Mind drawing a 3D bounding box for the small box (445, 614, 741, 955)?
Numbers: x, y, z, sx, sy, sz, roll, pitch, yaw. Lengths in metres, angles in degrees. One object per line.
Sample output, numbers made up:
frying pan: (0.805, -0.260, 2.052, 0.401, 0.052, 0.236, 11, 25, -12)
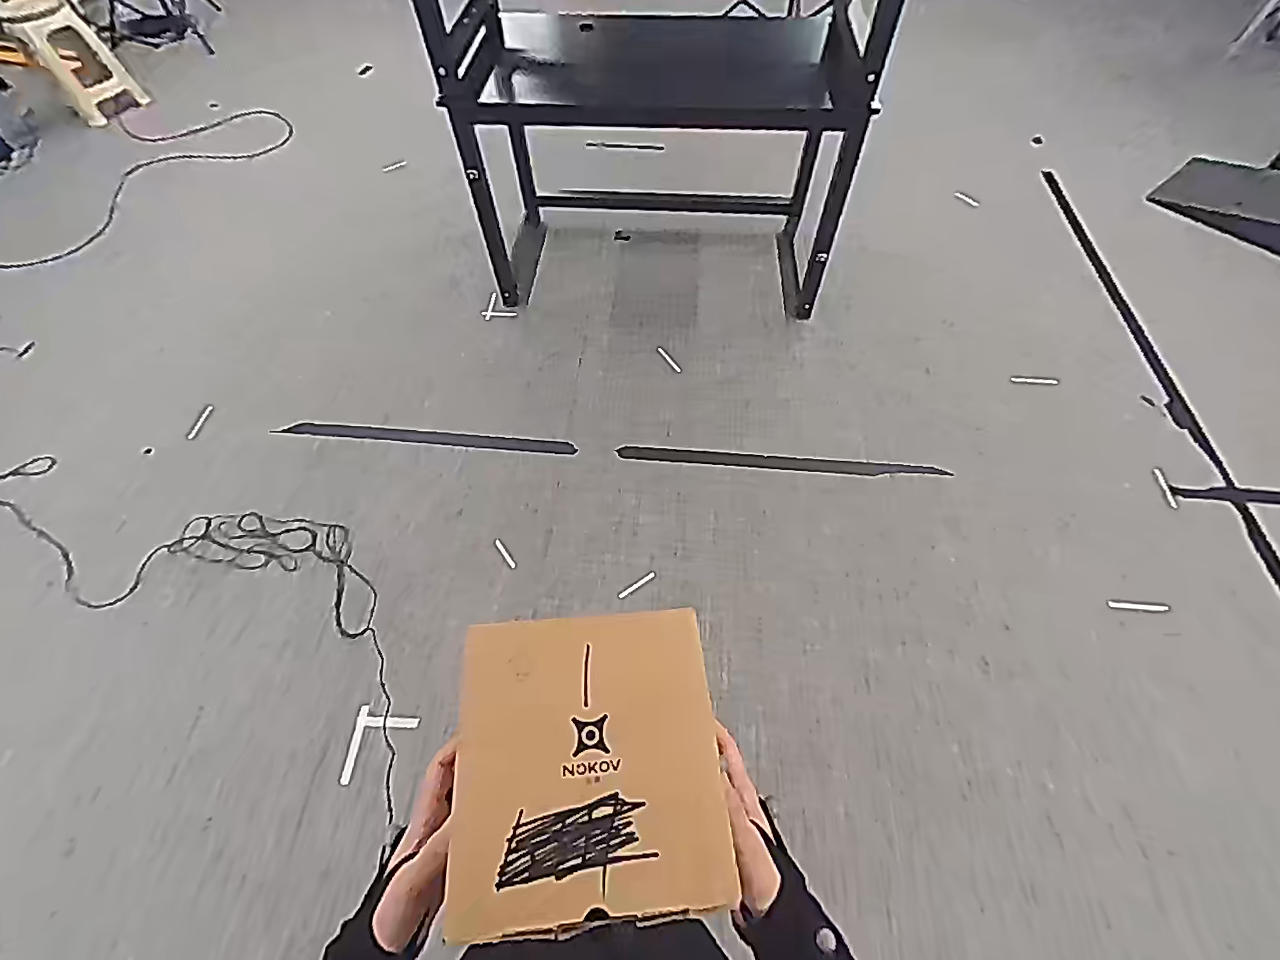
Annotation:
small box: (-0.035, 0.217, 0.404, 0.168, 0.176, 0.179, -3, 56, -7)
